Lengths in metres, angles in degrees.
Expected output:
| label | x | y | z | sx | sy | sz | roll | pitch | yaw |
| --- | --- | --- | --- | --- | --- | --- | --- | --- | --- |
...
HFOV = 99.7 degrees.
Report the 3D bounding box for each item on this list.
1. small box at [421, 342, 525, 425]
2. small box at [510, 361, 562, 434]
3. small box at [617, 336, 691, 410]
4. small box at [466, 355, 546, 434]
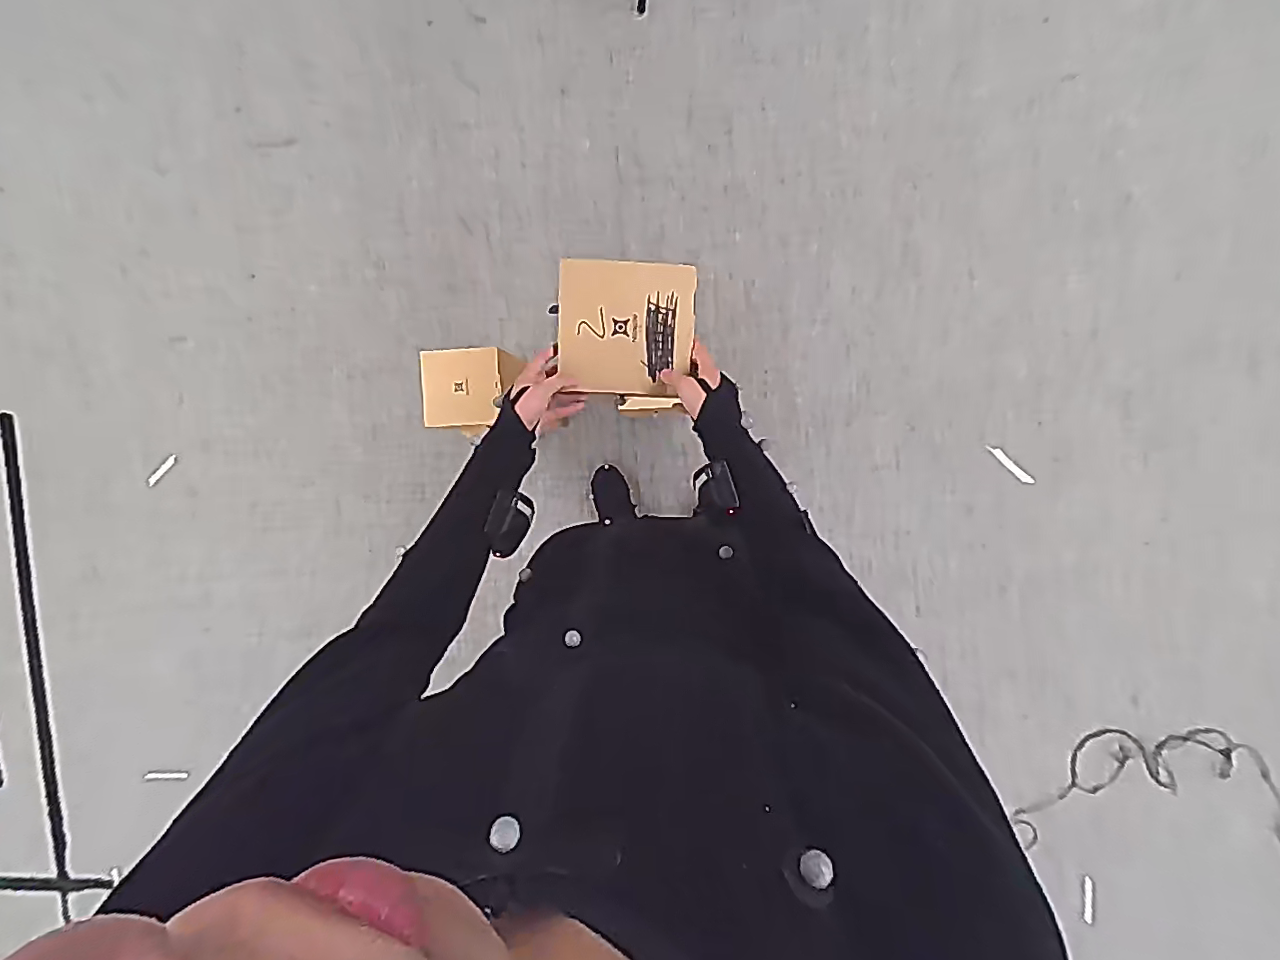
| label | x | y | z | sx | sy | sz | roll | pitch | yaw |
| --- | --- | --- | --- | --- | --- | --- | --- | --- | --- |
| small box | -0.375 | -0.214 | 1.237 | 0.179 | 0.176 | 0.168 | -2 | 94 | 5 |
| small box | -0.331 | -0.231 | 1.560 | 0.168 | 0.176 | 0.179 | -9 | 93 | 5 |
| small box | 0.036 | -0.265 | 1.366 | 0.179 | 0.176 | 0.168 | -1 | 93 | 3 |
| small box | -0.350 | -0.214 | 1.398 | 0.168 | 0.176 | 0.179 | -7 | 94 | 5 |
